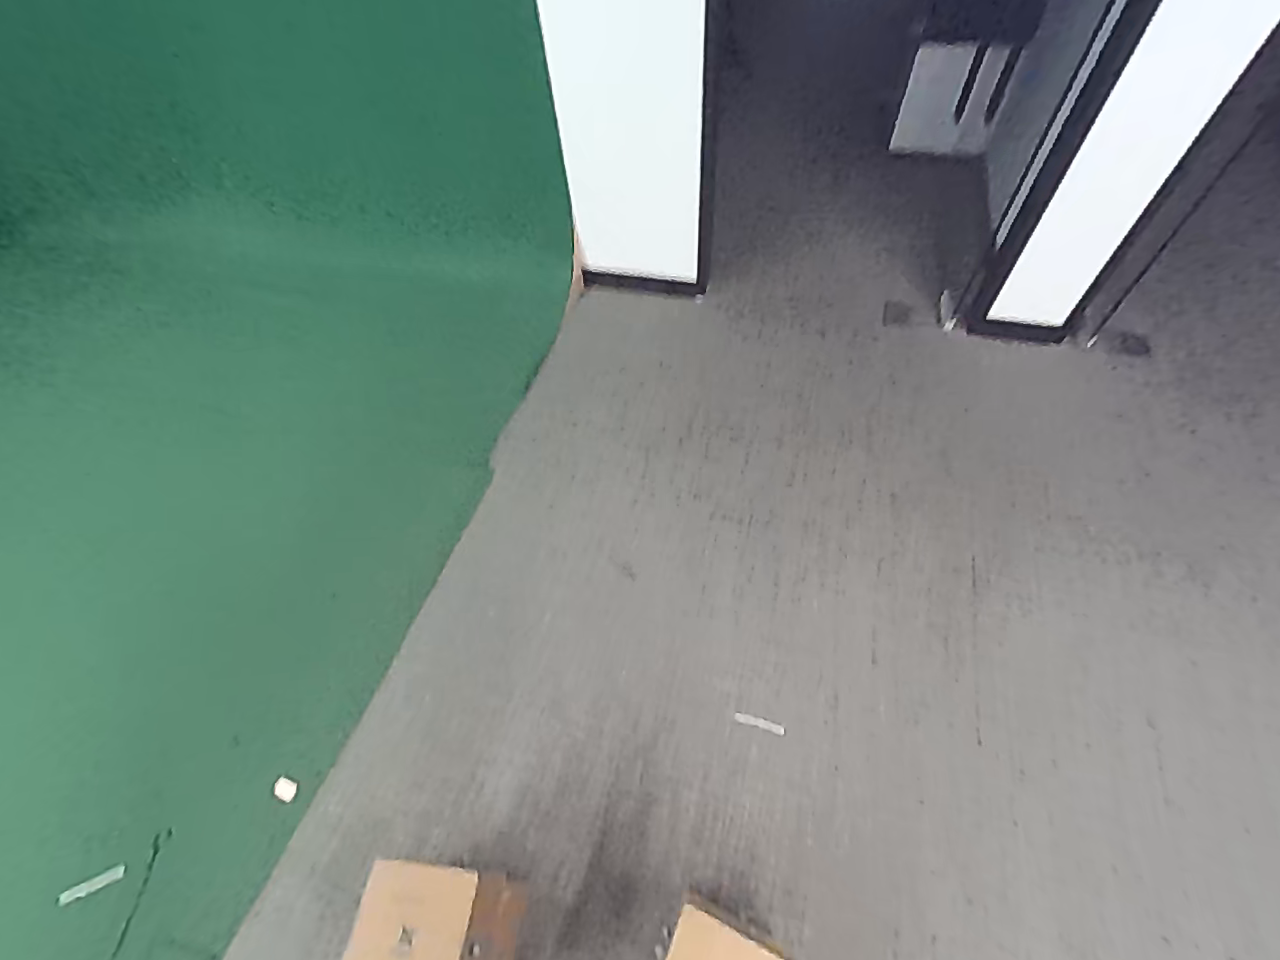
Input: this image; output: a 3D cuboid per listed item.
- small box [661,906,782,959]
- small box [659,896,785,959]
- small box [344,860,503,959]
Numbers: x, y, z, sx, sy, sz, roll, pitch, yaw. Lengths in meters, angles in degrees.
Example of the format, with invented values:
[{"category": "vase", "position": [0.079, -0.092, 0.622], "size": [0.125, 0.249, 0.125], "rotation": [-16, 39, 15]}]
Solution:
[{"category": "small box", "position": [0.109, 0.735, 0.763], "size": [0.179, 0.176, 0.168], "rotation": [19, 58, 18]}, {"category": "small box", "position": [0.122, 0.826, 0.901], "size": [0.179, 0.176, 0.168], "rotation": [19, 57, 16]}, {"category": "small box", "position": [-0.324, 0.699, 0.824], "size": [0.168, 0.176, 0.179], "rotation": [4, 54, 6]}]
